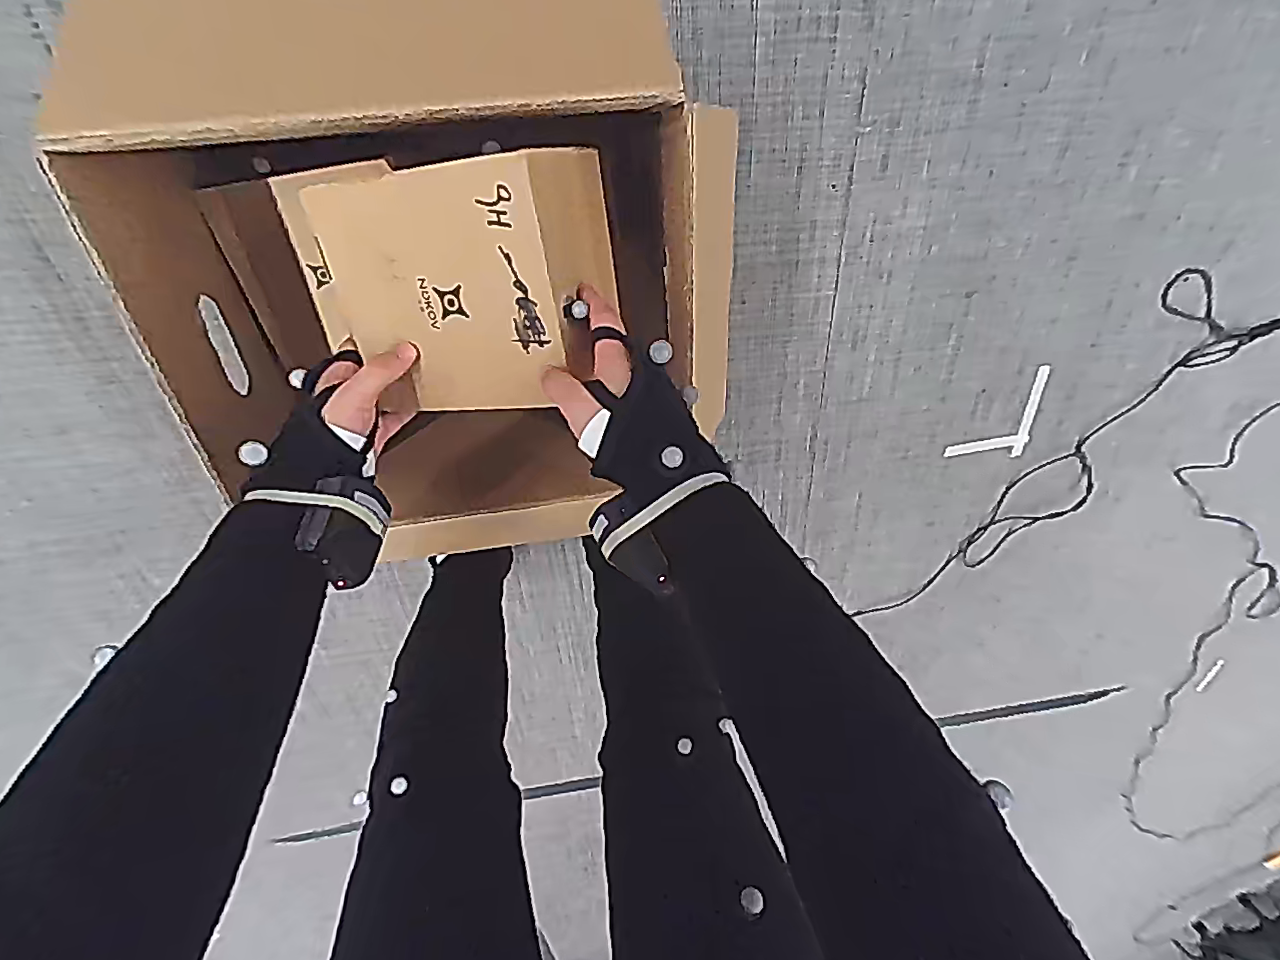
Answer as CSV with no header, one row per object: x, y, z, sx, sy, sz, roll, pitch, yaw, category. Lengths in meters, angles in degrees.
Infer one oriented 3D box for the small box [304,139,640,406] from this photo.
-0.112,-0.170,0.440,0.179,0.176,0.168,2,123,17,small box
